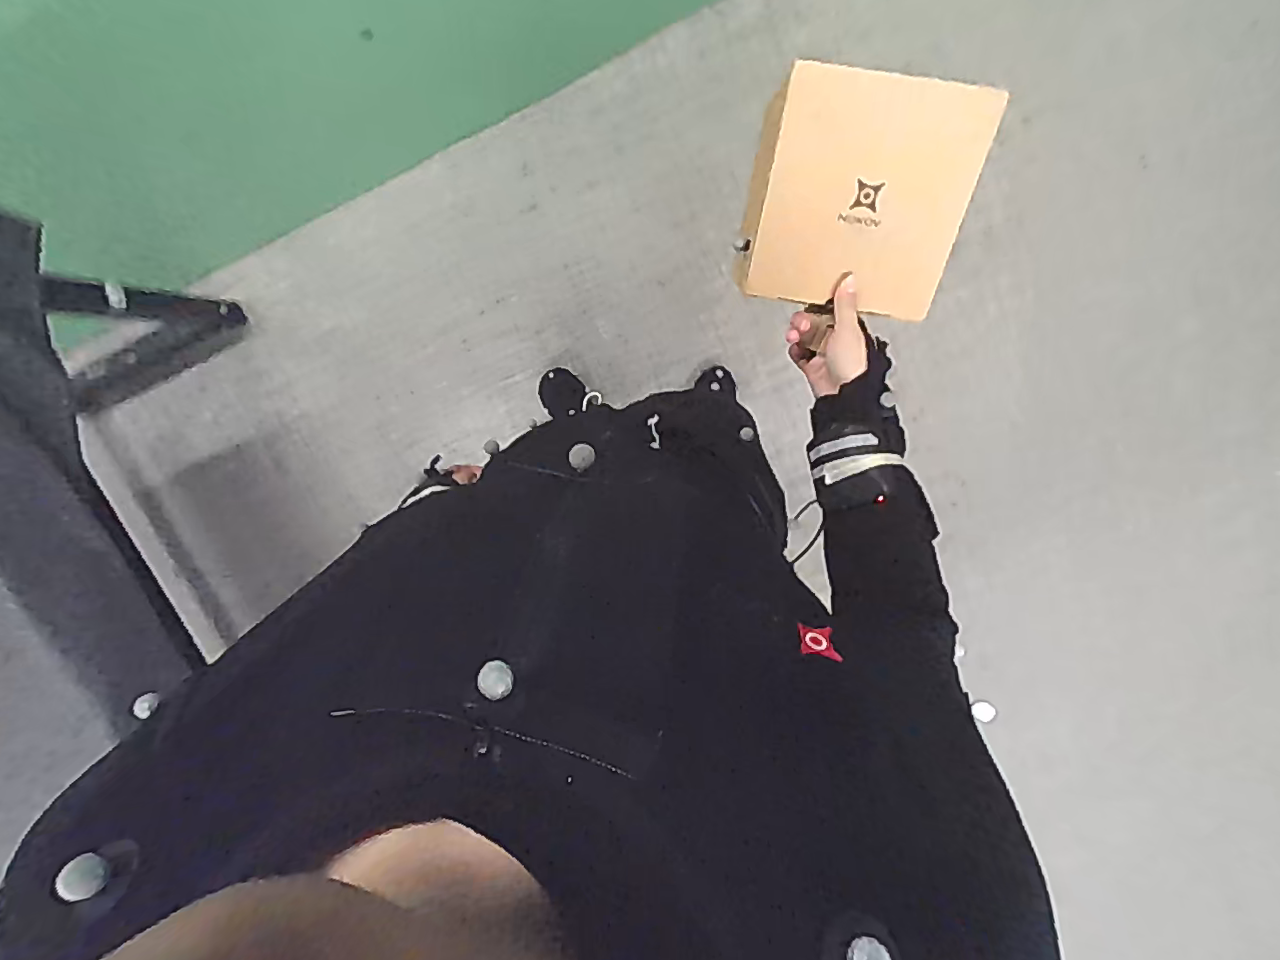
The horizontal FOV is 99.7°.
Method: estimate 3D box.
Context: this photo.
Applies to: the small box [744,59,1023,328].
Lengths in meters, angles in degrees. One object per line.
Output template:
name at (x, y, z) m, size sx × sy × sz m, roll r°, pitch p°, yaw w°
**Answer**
small box at (0.200, -0.259, 0.511) m, size 0.168 × 0.176 × 0.179 m, roll 10°, pitch 117°, yaw 0°
